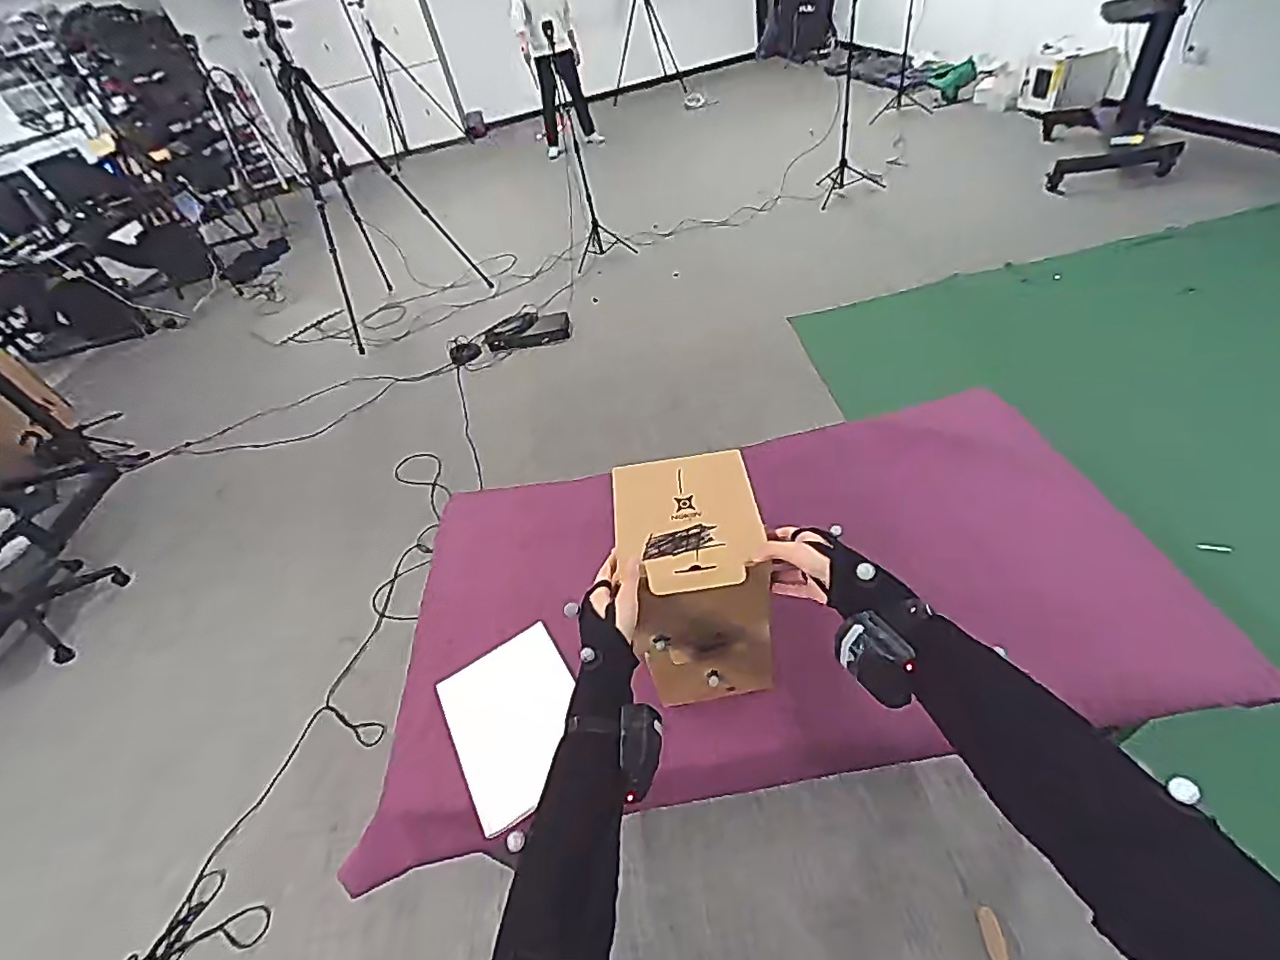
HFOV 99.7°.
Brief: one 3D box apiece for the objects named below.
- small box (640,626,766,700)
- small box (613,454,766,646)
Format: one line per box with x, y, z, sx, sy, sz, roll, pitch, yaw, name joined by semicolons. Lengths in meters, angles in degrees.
0.089;0.212;0.811;0.168;0.176;0.179;-11;44;3;small box
0.061;0.095;0.688;0.168;0.176;0.179;-8;44;3;small box
